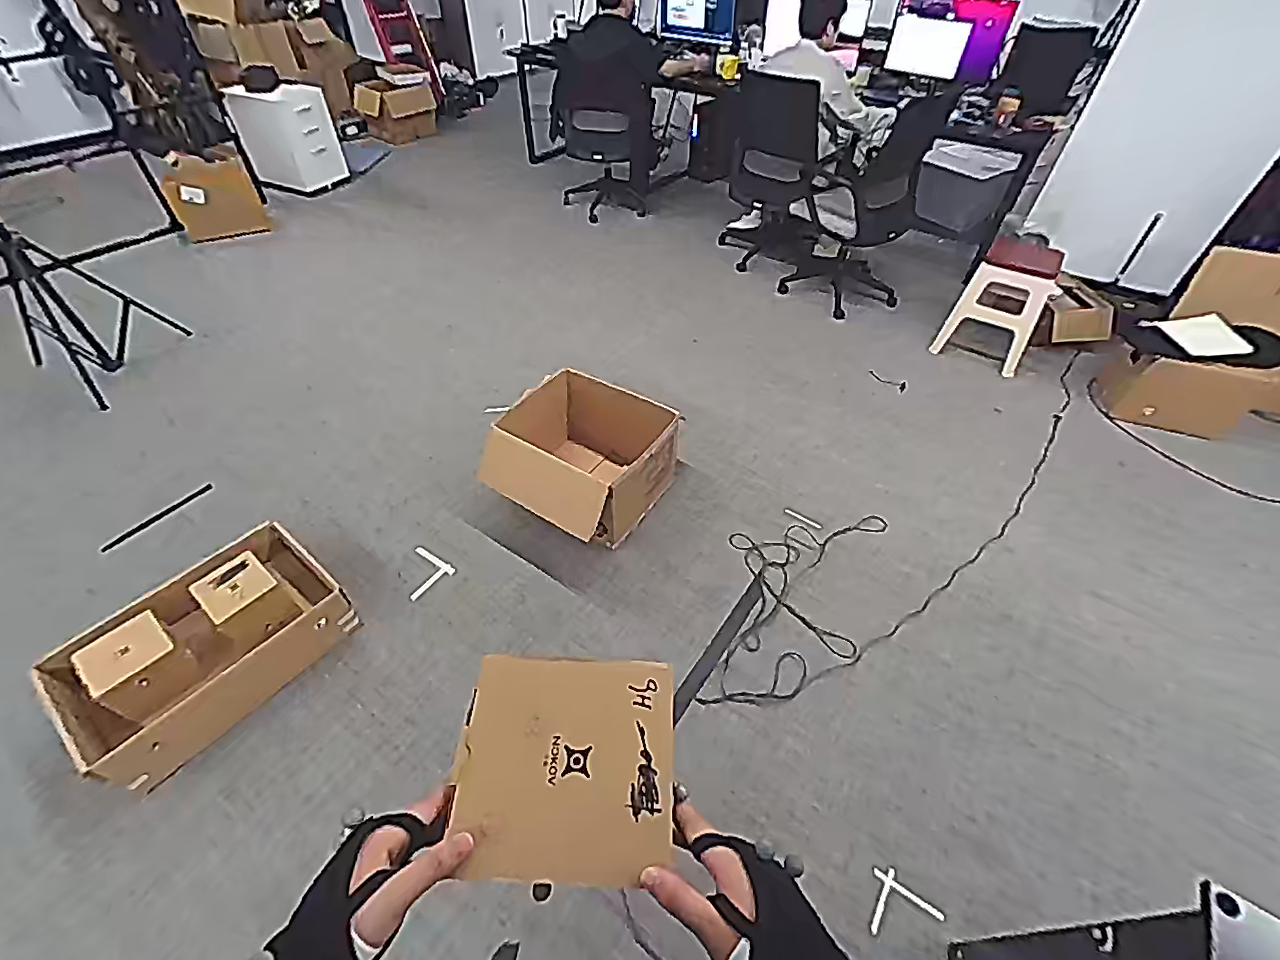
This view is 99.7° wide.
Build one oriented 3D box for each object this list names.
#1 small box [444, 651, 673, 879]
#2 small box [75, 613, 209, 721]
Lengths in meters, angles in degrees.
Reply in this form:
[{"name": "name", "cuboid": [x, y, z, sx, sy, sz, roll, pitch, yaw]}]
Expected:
[{"name": "small box", "cuboid": [-0.059, 0.274, 0.515, 0.179, 0.176, 0.168, 2, 54, 0]}, {"name": "small box", "cuboid": [-1.290, 0.491, 1.411, 0.168, 0.176, 0.179, 33, 52, 24]}]
